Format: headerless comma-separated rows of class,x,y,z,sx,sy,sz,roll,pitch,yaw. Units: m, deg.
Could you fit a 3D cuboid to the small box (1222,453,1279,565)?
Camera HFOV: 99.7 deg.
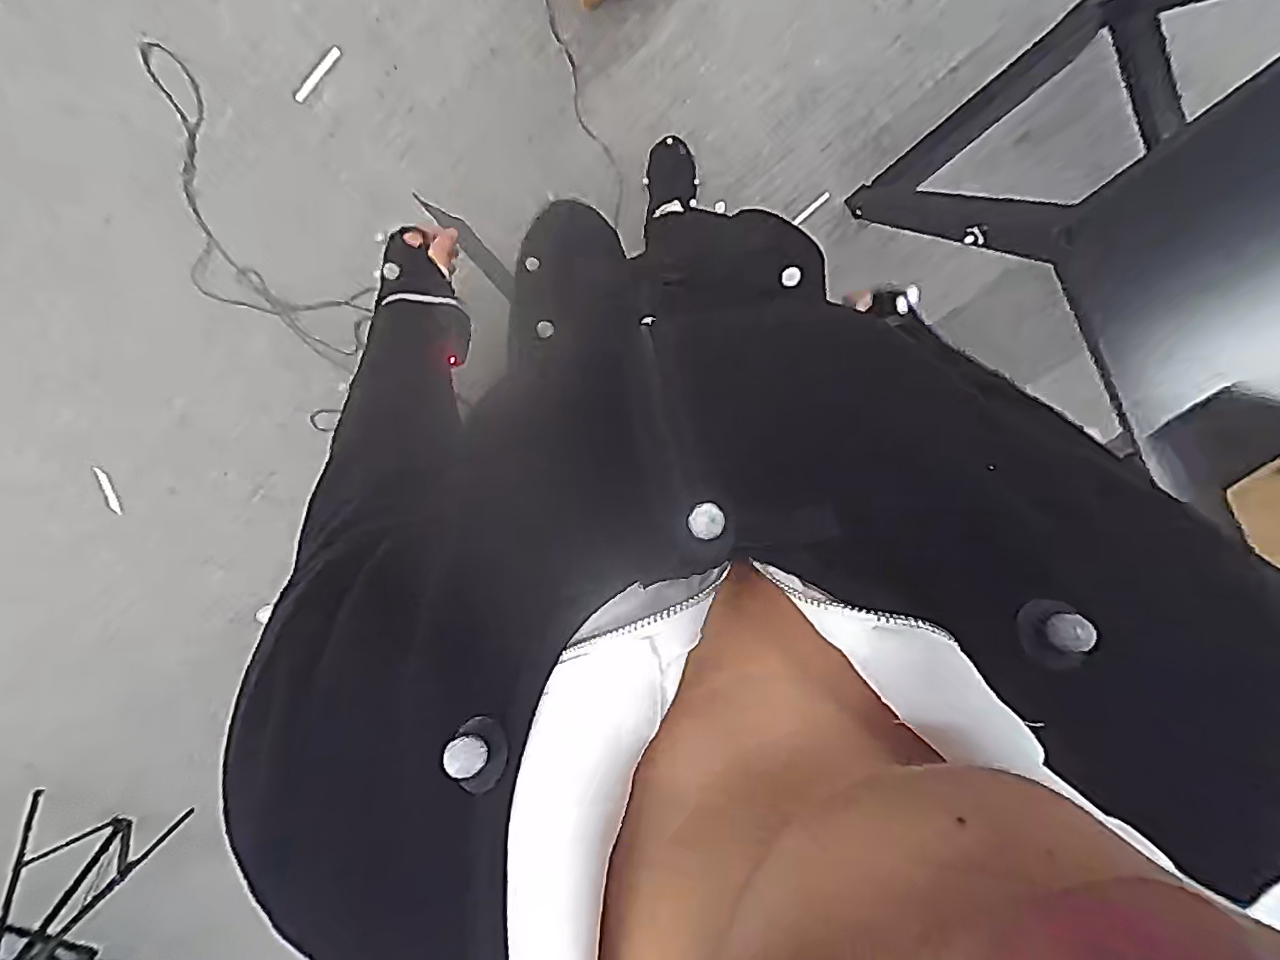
small box,1.004,0.050,0.768,0.168,0.176,0.179,-41,113,19
